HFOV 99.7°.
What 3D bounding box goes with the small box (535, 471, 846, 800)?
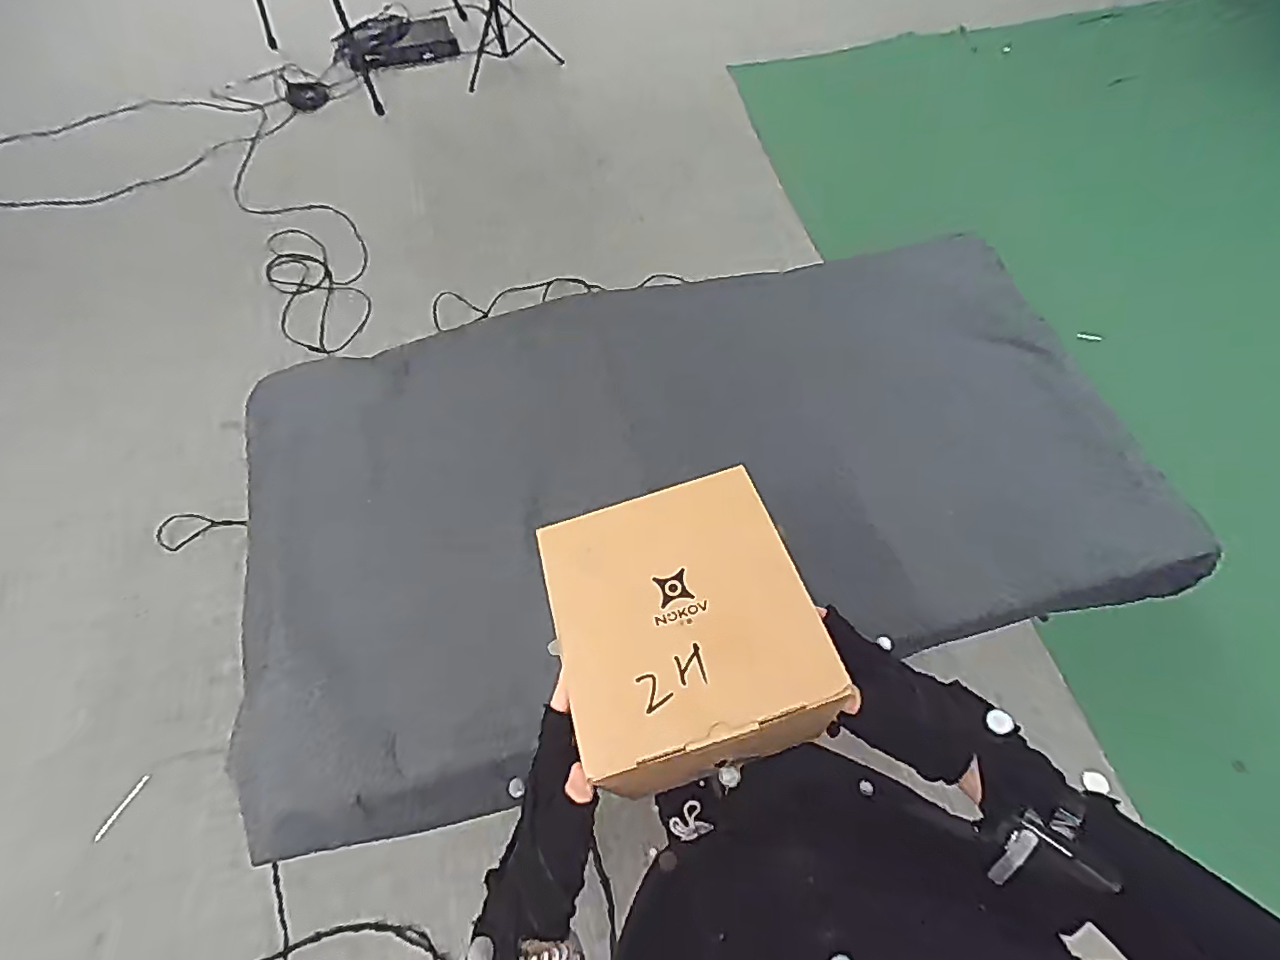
[{"bbox_3d":[0.031,0.127,0.422,0.168,0.176,0.179,-18,56,-2],"label":"small box"}]
